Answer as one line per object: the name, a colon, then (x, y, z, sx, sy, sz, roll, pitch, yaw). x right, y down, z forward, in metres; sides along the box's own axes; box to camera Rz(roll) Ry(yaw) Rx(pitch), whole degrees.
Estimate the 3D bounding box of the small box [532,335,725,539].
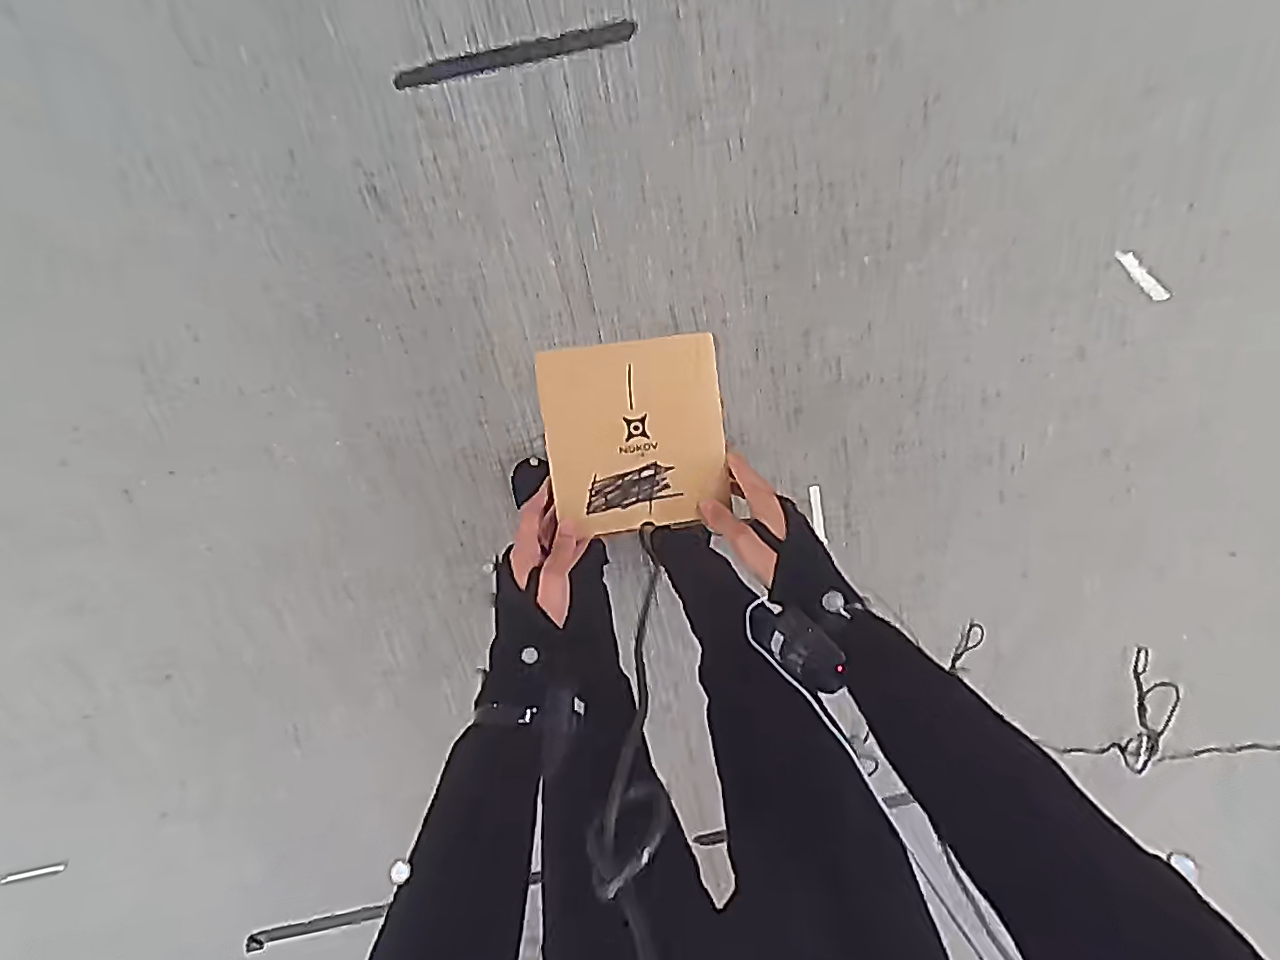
small box: (-0.015, -0.047, 0.580, 0.168, 0.176, 0.179, -8, 96, -5)
